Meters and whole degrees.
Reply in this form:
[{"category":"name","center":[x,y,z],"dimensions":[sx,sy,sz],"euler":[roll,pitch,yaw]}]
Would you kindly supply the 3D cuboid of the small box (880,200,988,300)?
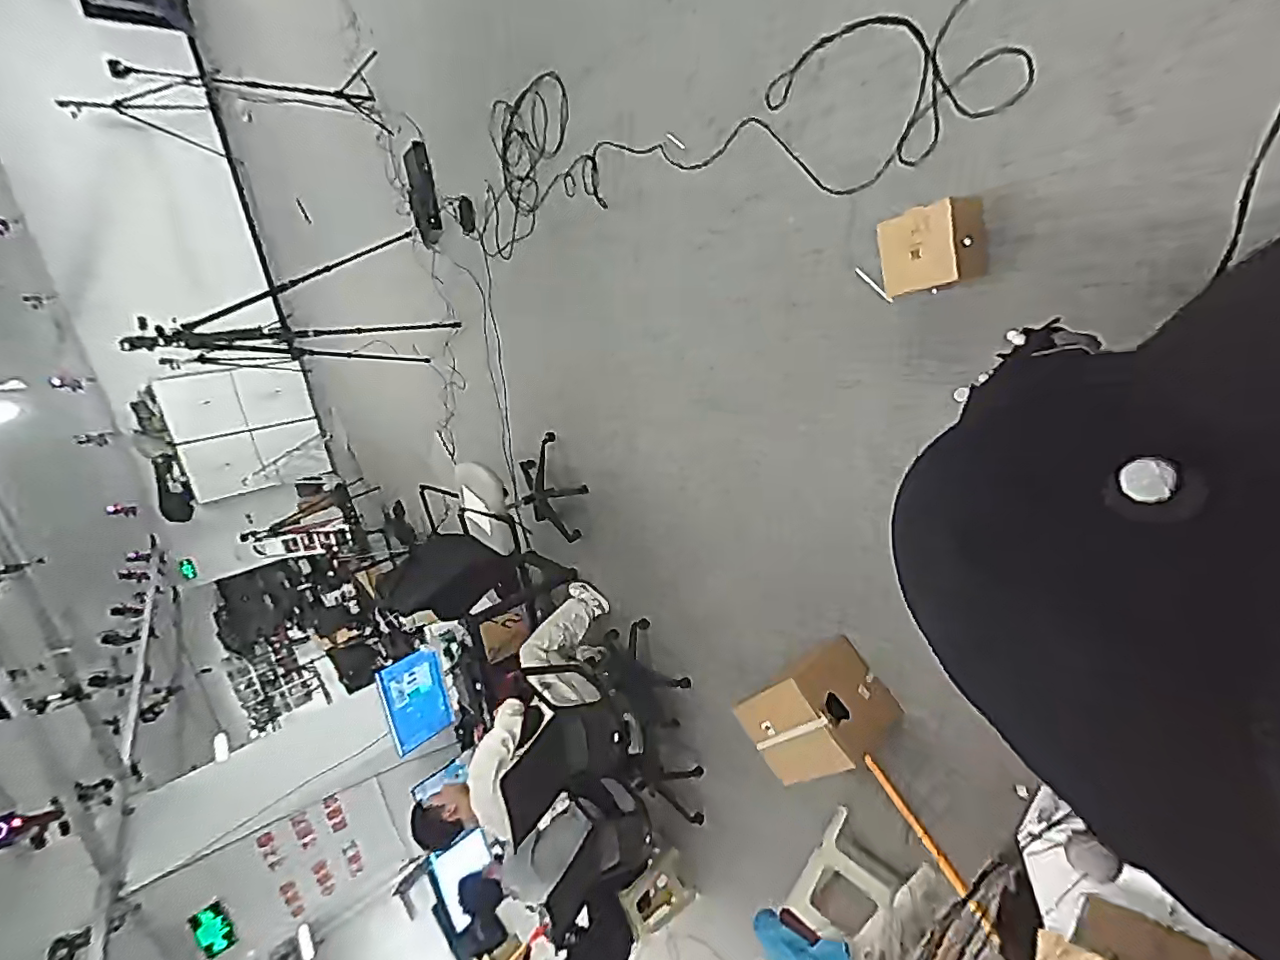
[{"category":"small box","center":[0.695,-0.540,1.272],"dimensions":[0.168,0.176,0.179],"euler":[1,107,52]}]
